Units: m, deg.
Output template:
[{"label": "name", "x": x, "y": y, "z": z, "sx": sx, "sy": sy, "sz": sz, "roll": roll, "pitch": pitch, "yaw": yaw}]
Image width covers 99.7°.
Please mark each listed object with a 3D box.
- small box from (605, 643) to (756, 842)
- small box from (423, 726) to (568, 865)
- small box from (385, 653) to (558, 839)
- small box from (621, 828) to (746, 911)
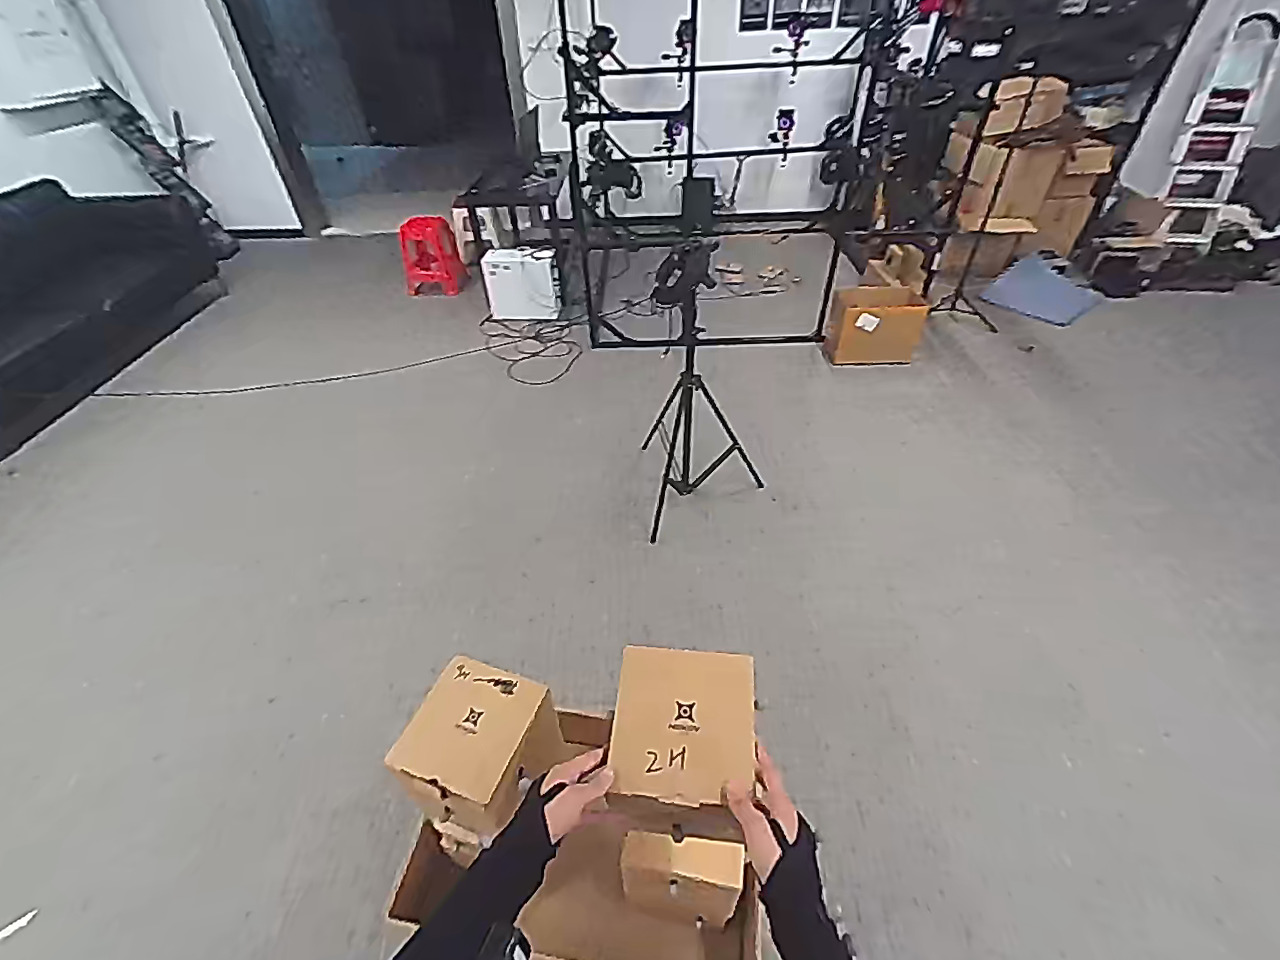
[{"label": "small box", "x": 0.056, "y": 0.333, "z": 0.689, "sx": 0.168, "sy": 0.176, "sz": 0.179, "roll": 2, "pitch": 47, "yaw": 8}, {"label": "small box", "x": -0.232, "y": 0.522, "z": 0.928, "sx": 0.168, "sy": 0.176, "sz": 0.179, "roll": 10, "pitch": 42, "yaw": 14}, {"label": "small box", "x": -0.236, "y": 0.401, "z": 0.815, "sx": 0.168, "sy": 0.176, "sz": 0.179, "roll": 13, "pitch": 44, "yaw": 16}, {"label": "small box", "x": 0.077, "y": 0.562, "z": 0.870, "sx": 0.179, "sy": 0.176, "sz": 0.168, "roll": 6, "pitch": 41, "yaw": 11}]
